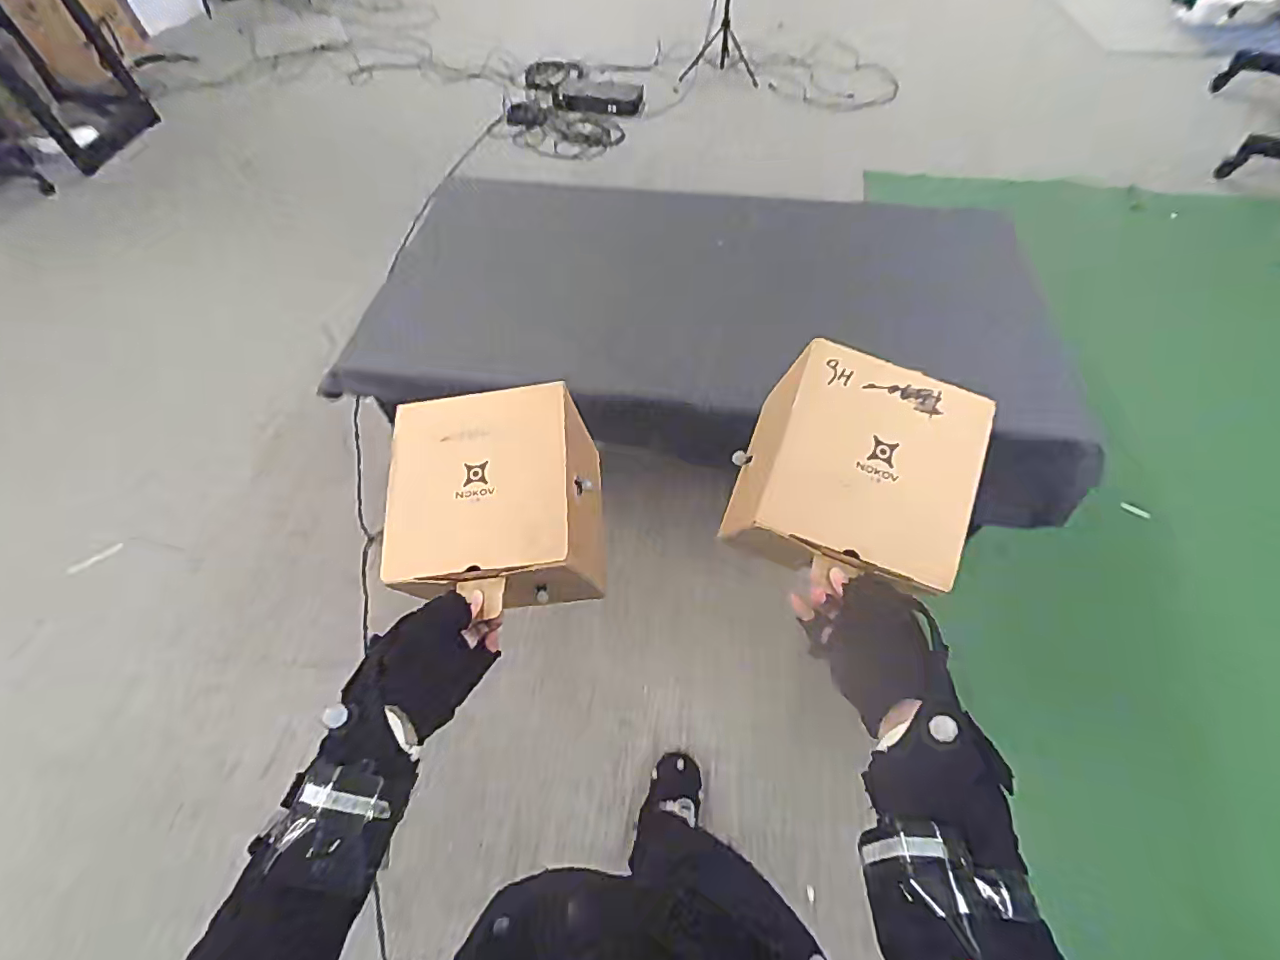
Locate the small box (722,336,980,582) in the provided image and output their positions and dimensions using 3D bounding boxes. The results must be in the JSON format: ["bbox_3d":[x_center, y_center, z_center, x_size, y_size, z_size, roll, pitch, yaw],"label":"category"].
[{"bbox_3d":[0.192,-0.007,0.543,0.168,0.176,0.179,21,79,1],"label":"small box"}]

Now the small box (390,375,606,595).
[{"bbox_3d":[-0.133,0.019,0.565,0.168,0.176,0.179,-8,67,4],"label":"small box"}]
